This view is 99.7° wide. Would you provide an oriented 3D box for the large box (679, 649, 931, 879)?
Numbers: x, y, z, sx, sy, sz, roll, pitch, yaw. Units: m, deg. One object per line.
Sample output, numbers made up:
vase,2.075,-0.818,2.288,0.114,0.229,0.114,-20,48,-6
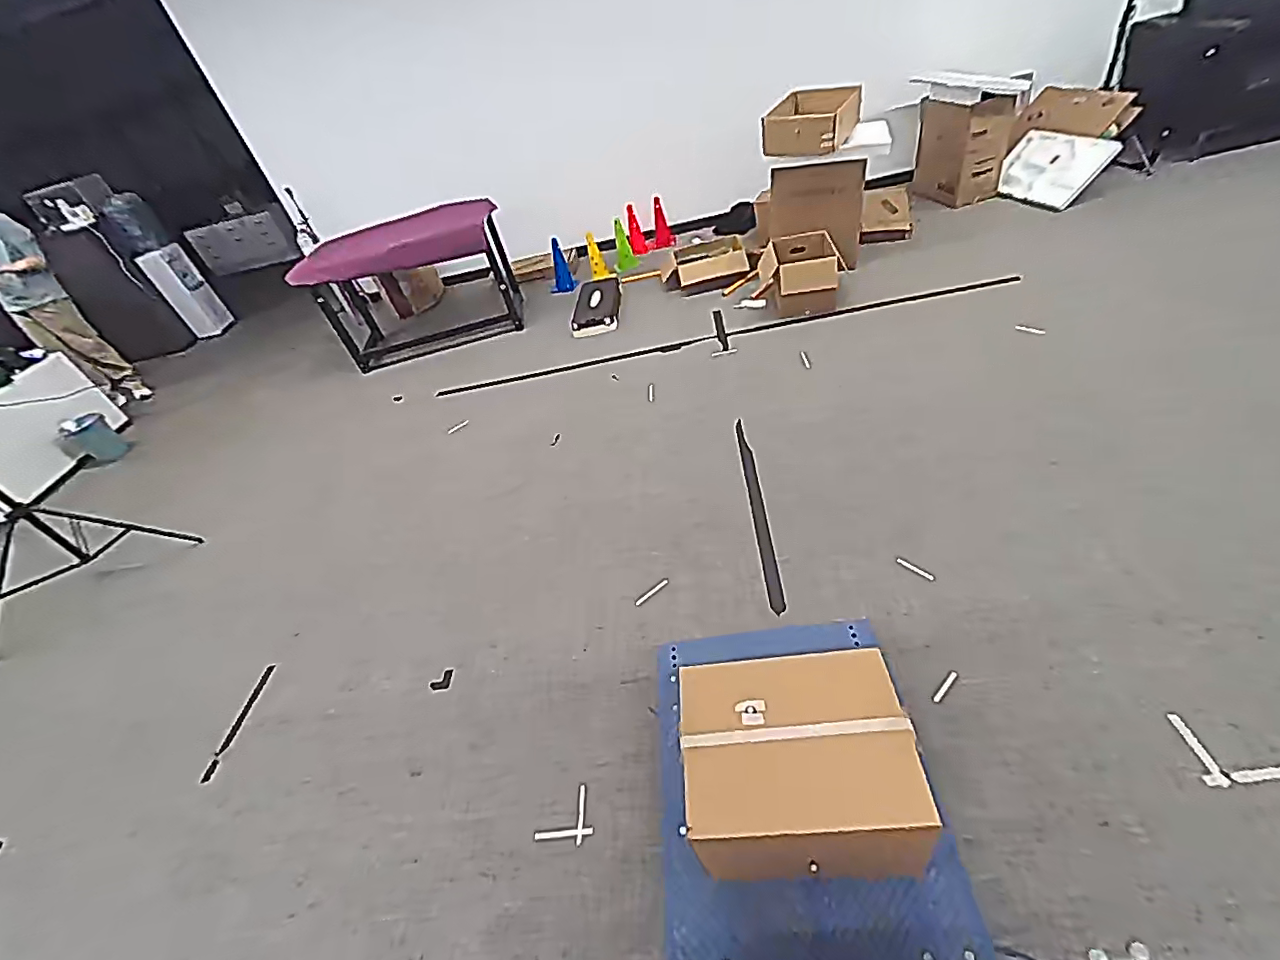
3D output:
large box,0.312,0.585,1.104,0.408,0.320,0.320,-10,40,9
